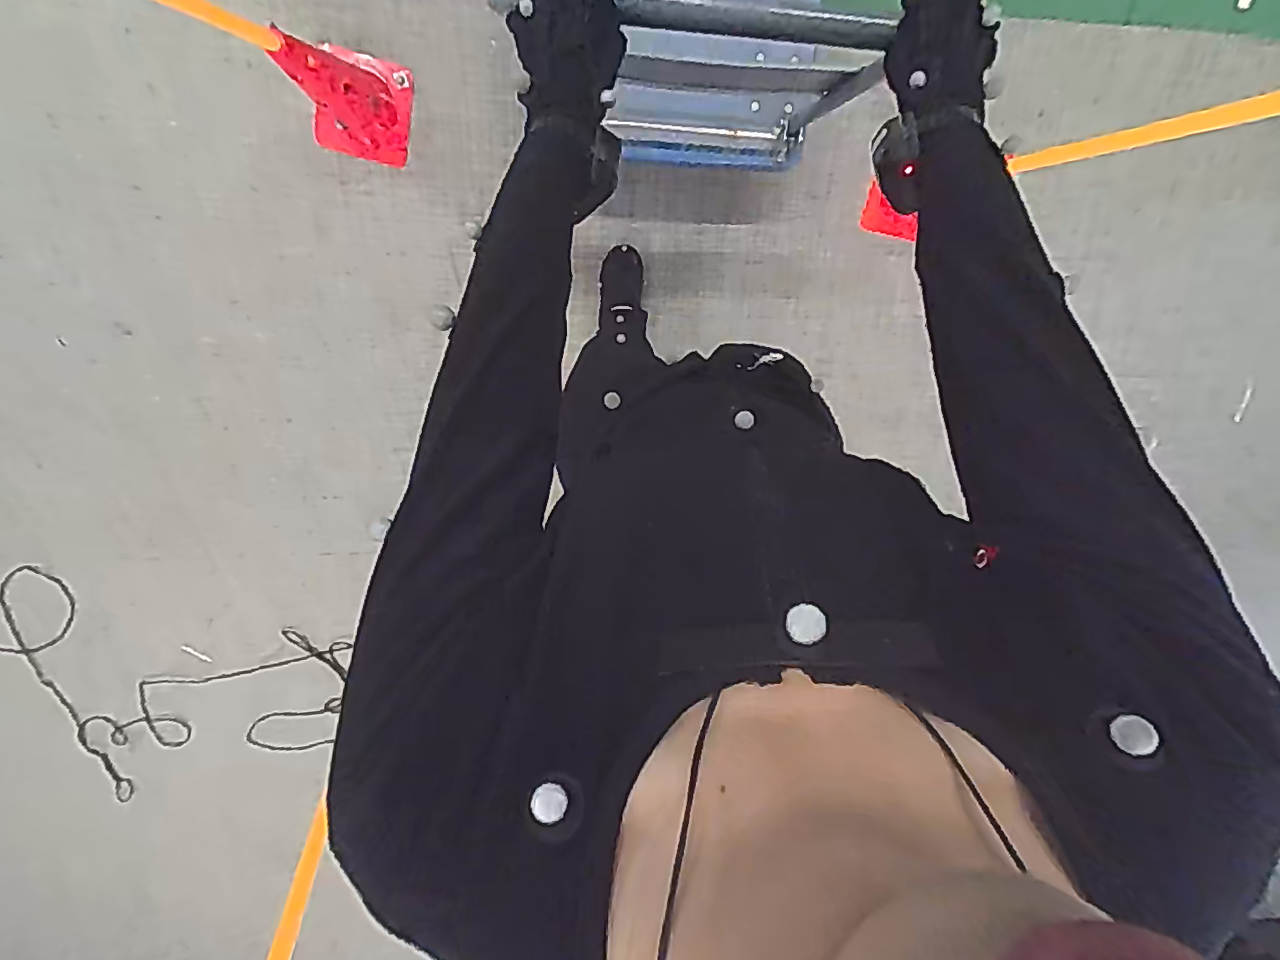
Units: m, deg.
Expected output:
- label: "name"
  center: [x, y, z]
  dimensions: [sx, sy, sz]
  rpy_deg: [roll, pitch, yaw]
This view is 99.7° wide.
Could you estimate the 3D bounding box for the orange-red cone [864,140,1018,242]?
- label: "orange-red cone"
  center: [0.678, -0.648, 1.170]
  dimensions: [0.198, 0.360, 0.199]
  rpy_deg: [10, 110, -7]
